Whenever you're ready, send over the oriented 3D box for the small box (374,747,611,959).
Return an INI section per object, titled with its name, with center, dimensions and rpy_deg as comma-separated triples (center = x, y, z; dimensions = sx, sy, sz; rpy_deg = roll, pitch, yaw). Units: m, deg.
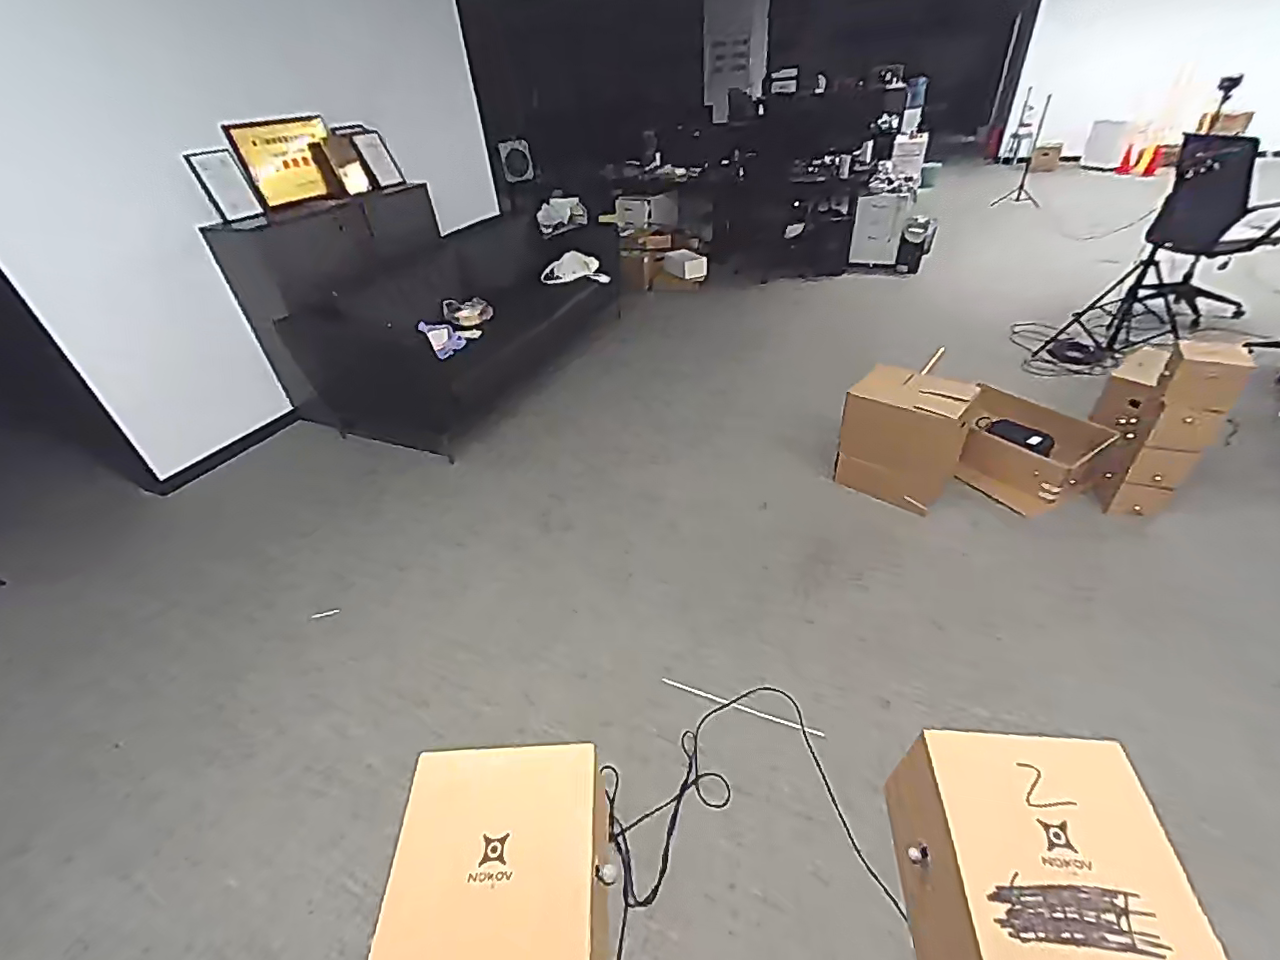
[small box]
center = -0.117, 0.375, 0.504
dimensions = 0.168, 0.176, 0.179
rpy_deg = -3, 42, 0
